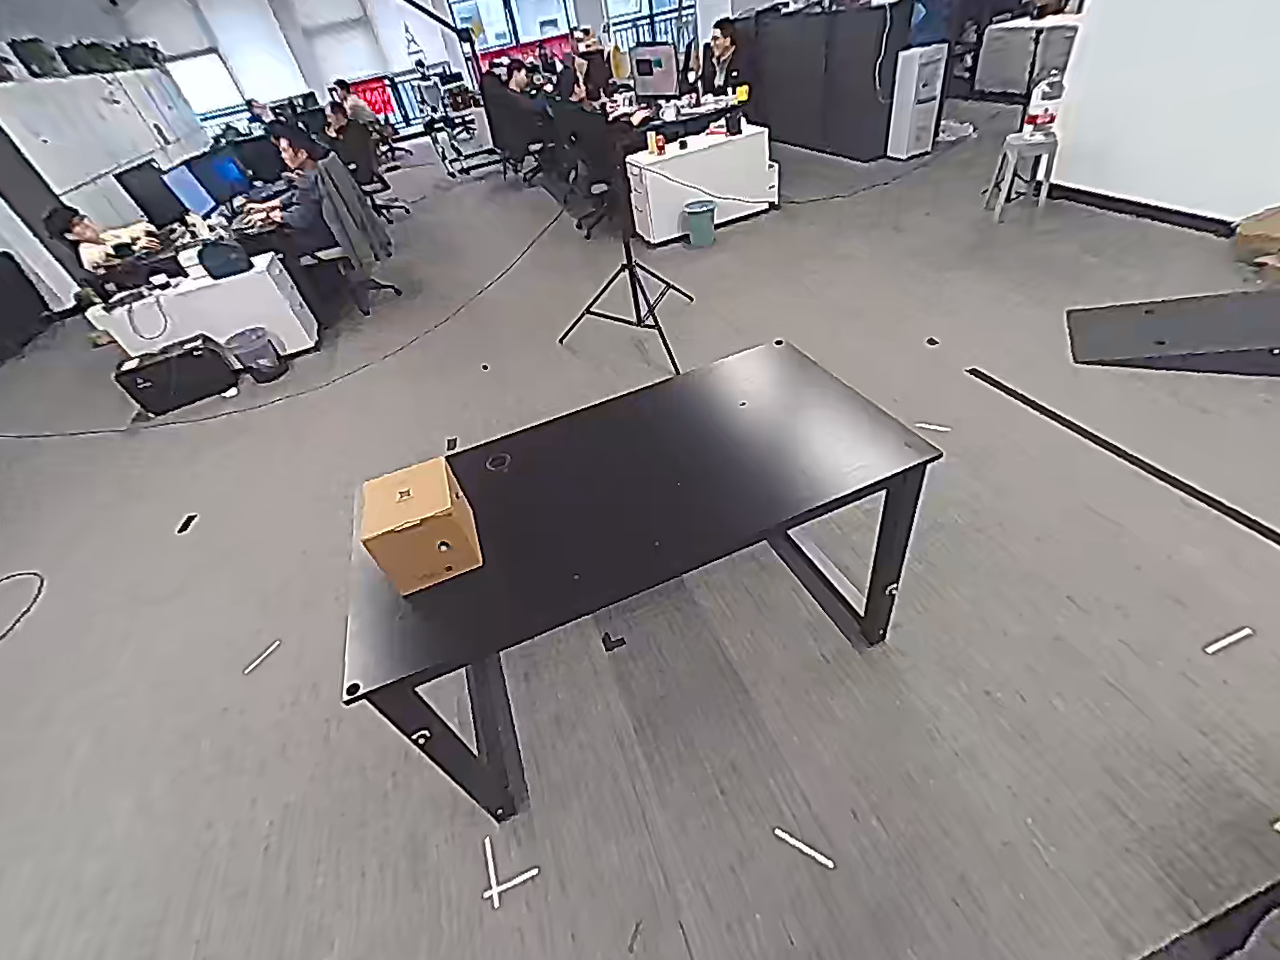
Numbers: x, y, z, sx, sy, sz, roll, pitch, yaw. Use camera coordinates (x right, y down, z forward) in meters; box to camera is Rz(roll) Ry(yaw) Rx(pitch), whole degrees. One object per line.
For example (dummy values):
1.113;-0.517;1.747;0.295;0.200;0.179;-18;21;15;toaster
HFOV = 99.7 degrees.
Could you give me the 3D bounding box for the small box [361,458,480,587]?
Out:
-0.432;0.090;1.077;0.168;0.176;0.179;-20;41;-10;small box
